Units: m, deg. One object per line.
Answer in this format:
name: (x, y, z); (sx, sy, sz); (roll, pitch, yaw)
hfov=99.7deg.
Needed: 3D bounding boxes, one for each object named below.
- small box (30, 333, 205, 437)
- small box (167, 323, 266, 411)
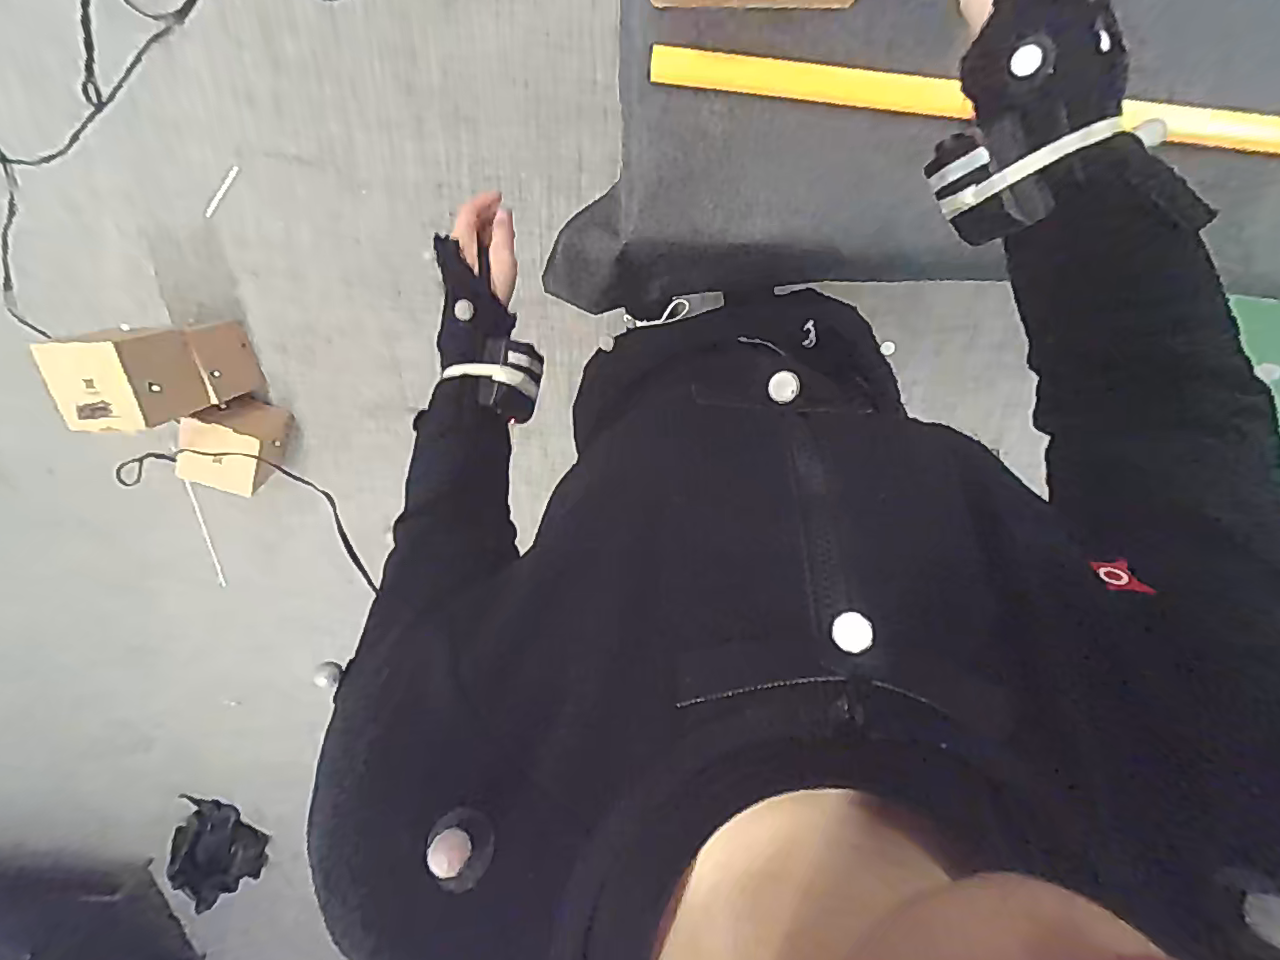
small box: (-1.054, -0.199, 1.113); (0.168, 0.176, 0.179); (0, 114, 2)
small box: (-1.040, -0.262, 1.269); (0.179, 0.176, 0.168); (-6, 118, 7)
